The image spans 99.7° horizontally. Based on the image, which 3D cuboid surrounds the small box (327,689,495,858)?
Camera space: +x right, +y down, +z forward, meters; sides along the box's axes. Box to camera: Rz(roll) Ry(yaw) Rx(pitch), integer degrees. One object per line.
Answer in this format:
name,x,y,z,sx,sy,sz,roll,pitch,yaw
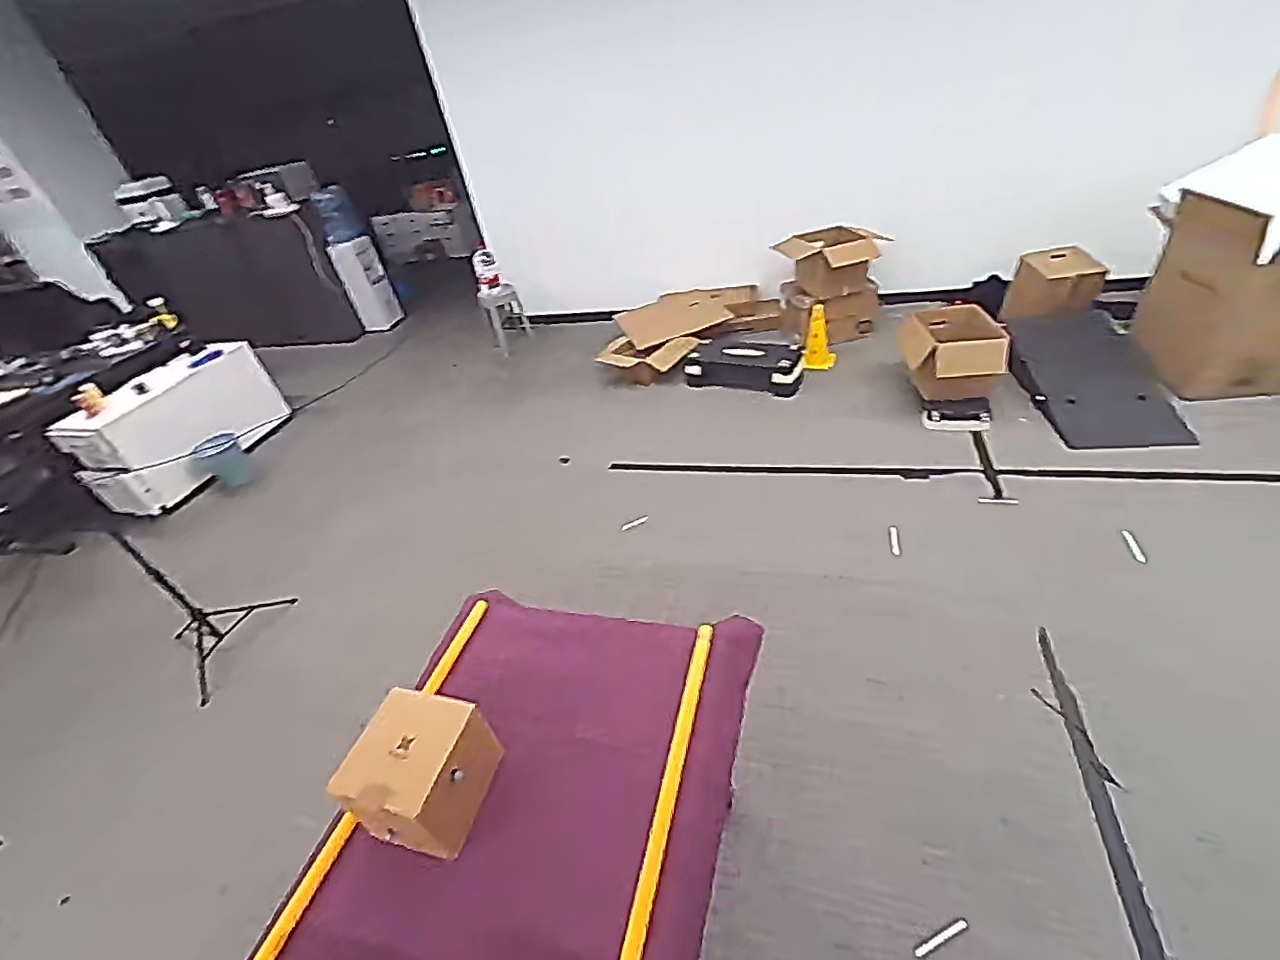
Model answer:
small box,-0.360,0.480,0.893,0.168,0.176,0.179,4,40,17
